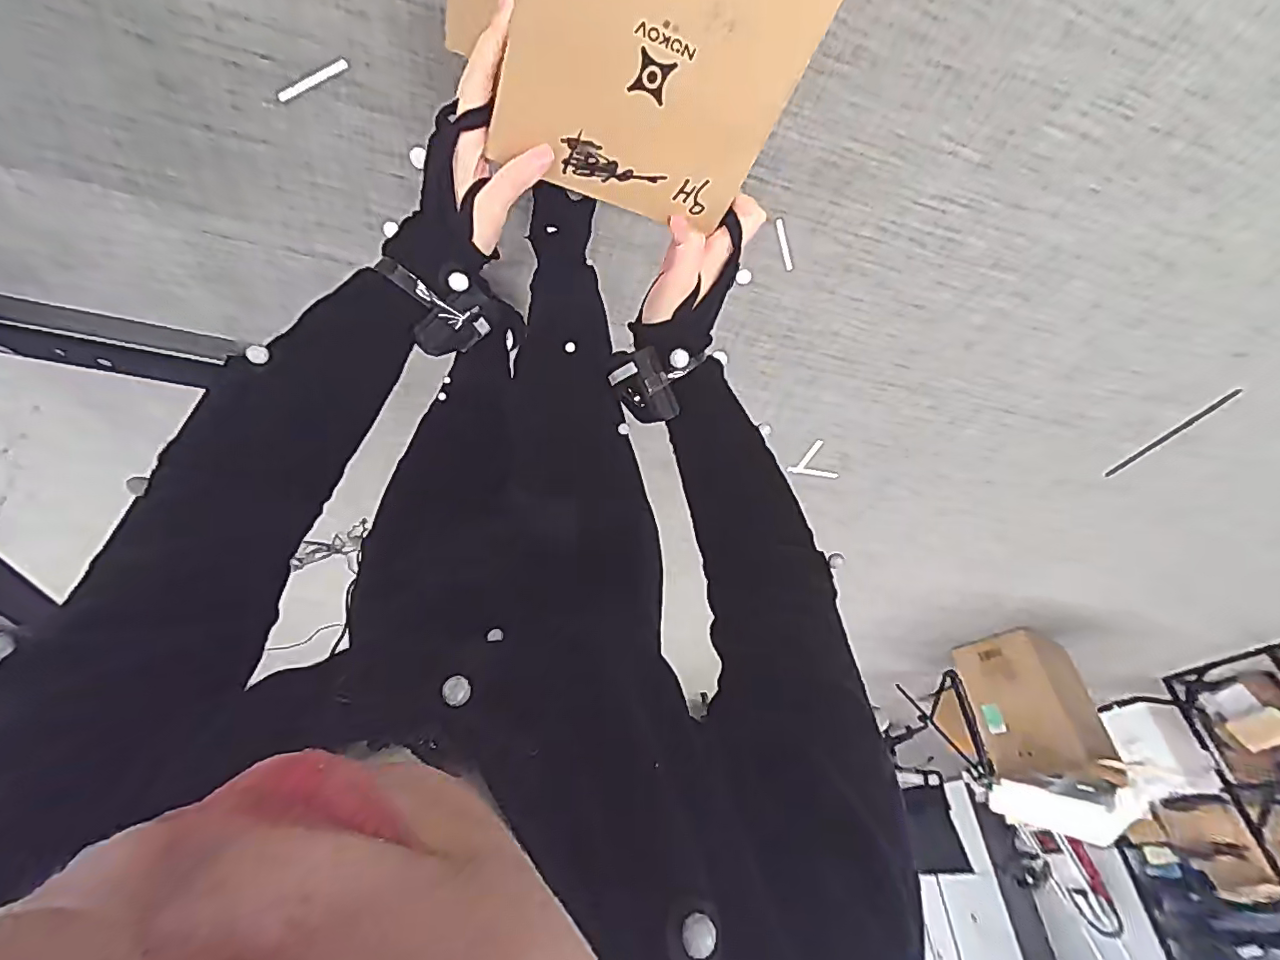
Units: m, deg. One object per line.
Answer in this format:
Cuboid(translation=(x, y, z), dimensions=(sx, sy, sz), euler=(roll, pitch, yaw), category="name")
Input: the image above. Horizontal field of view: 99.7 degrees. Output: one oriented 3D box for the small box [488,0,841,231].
Cuboid(translation=(0.004, -0.307, 0.348), dimensions=(0.168, 0.176, 0.179), euler=(10, 141, -23), category="small box")
